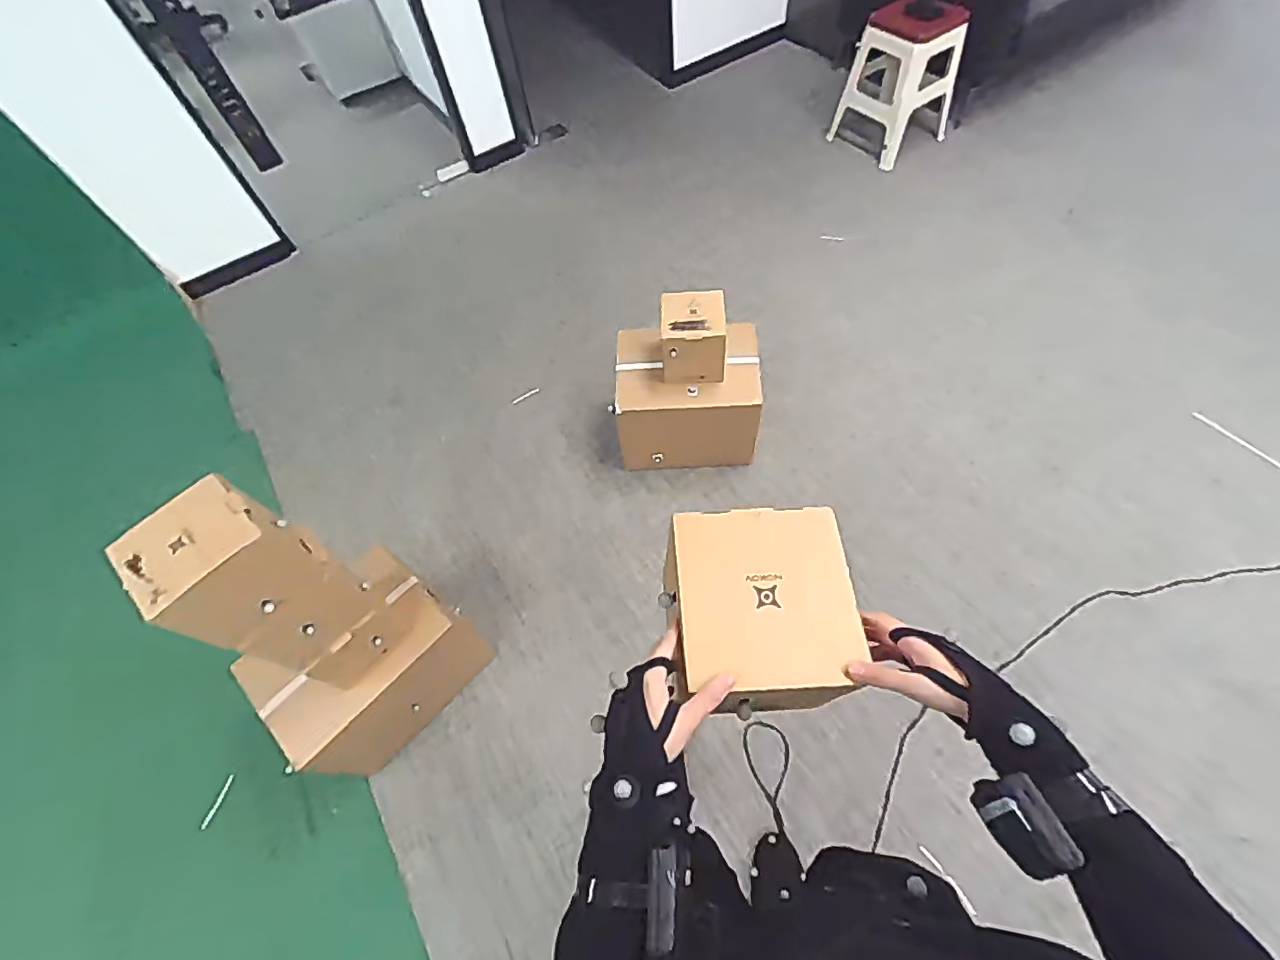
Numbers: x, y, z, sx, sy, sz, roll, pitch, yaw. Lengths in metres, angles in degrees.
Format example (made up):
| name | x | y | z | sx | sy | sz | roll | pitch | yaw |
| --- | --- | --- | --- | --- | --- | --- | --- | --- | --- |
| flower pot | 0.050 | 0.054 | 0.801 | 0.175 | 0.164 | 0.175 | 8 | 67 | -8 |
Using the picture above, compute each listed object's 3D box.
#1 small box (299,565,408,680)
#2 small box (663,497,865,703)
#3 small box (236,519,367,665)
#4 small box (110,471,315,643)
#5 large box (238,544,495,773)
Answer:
| name | x | y | z | sx | sy | sz | roll | pitch | yaw |
| --- | --- | --- | --- | --- | --- | --- | --- | --- | --- |
| small box | -0.627 | 0.298 | 1.137 | 0.179 | 0.176 | 0.168 | 38 | 69 | 24 |
| small box | 0.112 | 0.135 | 0.574 | 0.168 | 0.176 | 0.179 | -1 | 59 | -1 |
| small box | -0.641 | 0.210 | 0.999 | 0.168 | 0.176 | 0.179 | 37 | 69 | 23 |
| small box | -0.658 | 0.126 | 0.859 | 0.168 | 0.176 | 0.179 | 37 | 68 | 24 |
| large box | -0.644 | 0.443 | 1.337 | 0.320 | 0.320 | 0.408 | 36 | 70 | 25 |
